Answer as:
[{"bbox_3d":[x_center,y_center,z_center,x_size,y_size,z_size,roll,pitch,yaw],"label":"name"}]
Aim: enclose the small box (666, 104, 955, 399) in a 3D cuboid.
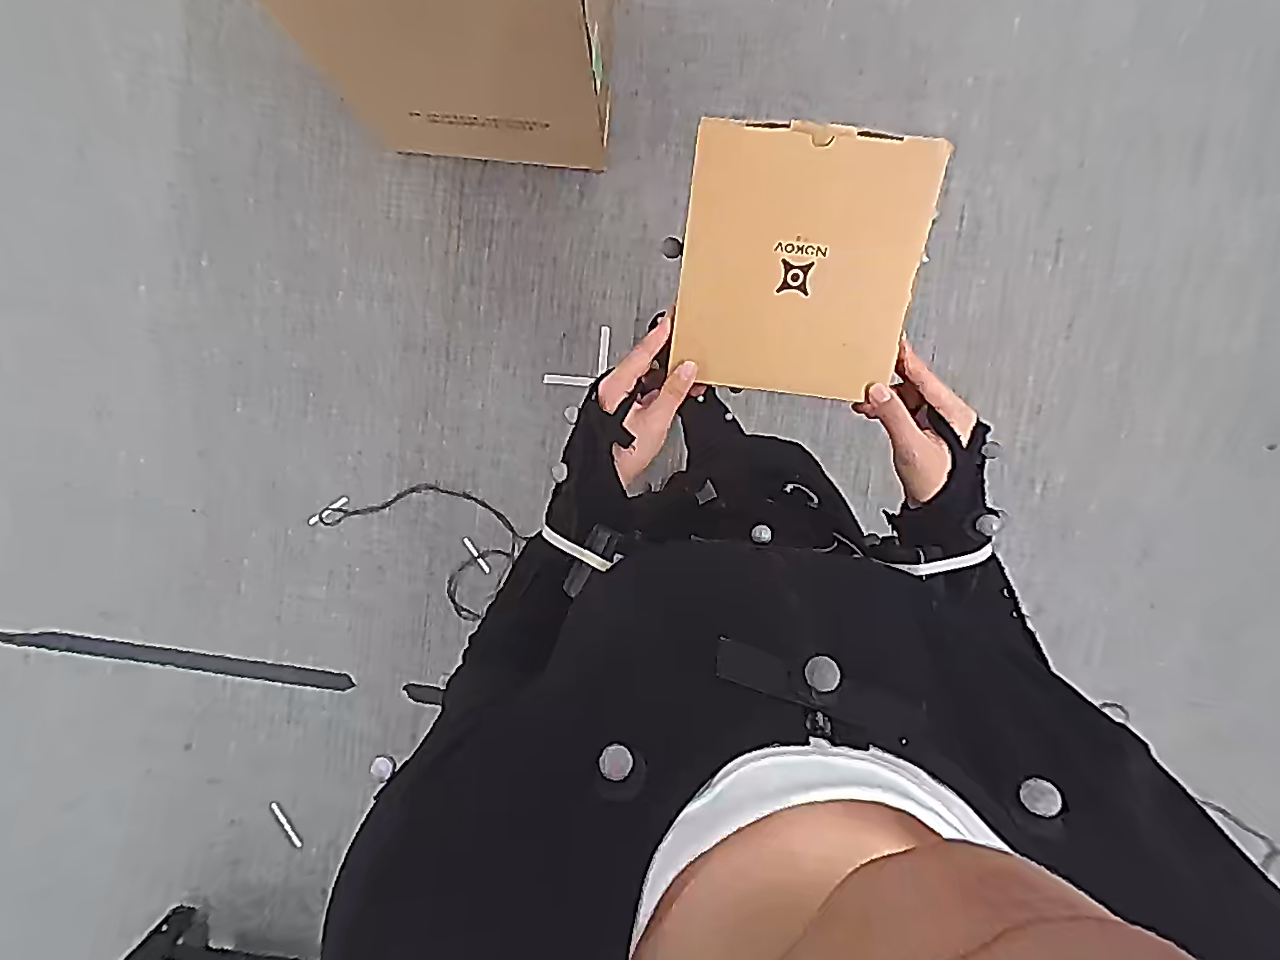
[{"bbox_3d":[0.117,-0.175,0.444,0.168,0.176,0.179,7,108,4],"label":"small box"}]
